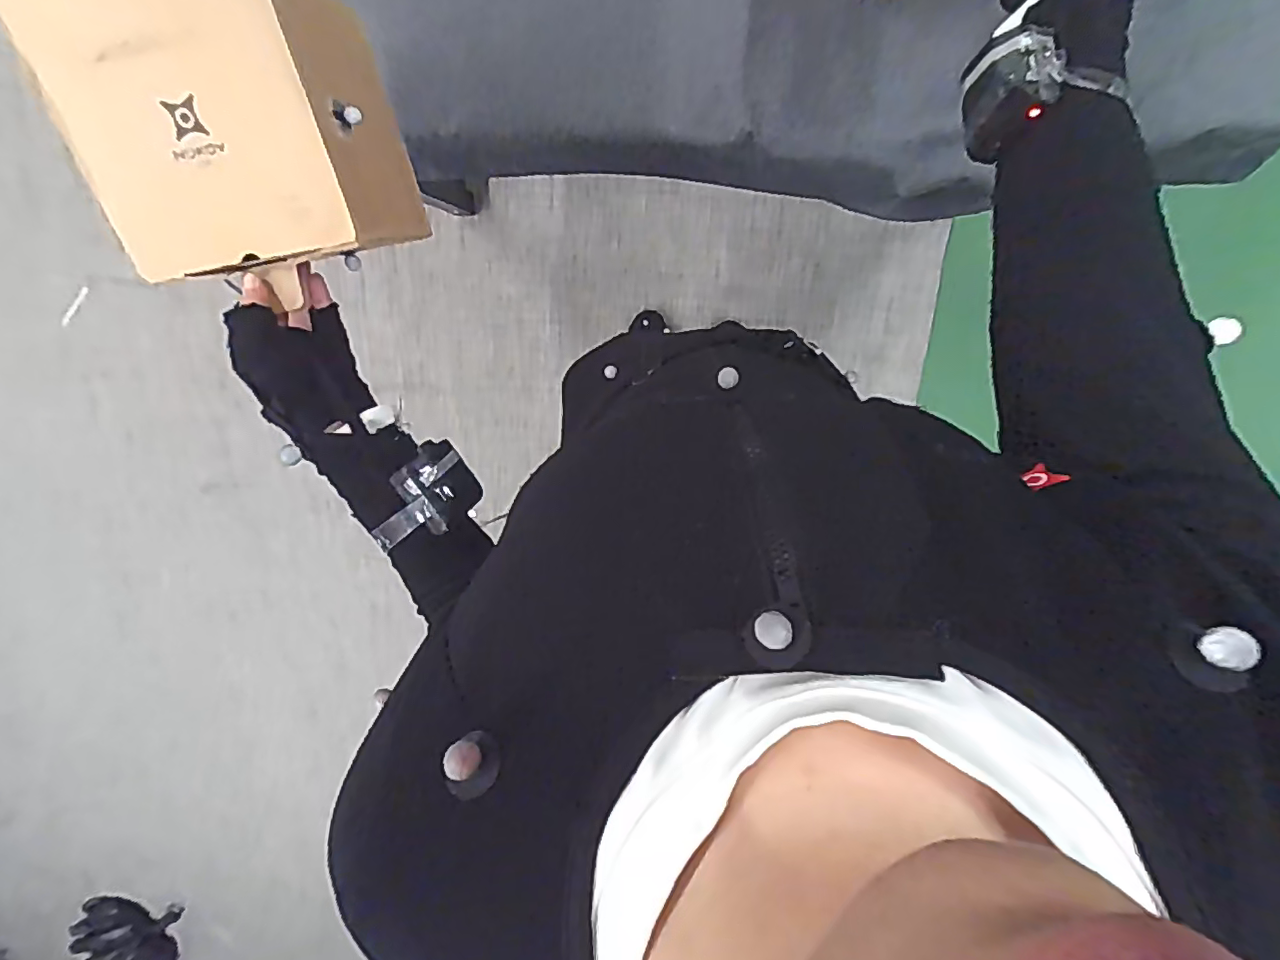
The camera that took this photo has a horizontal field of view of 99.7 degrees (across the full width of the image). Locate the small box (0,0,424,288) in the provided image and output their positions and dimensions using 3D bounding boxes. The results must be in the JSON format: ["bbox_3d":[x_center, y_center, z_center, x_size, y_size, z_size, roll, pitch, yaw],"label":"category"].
[{"bbox_3d":[-0.293,-0.262,0.420,0.168,0.176,0.179,-10,115,2],"label":"small box"}]
